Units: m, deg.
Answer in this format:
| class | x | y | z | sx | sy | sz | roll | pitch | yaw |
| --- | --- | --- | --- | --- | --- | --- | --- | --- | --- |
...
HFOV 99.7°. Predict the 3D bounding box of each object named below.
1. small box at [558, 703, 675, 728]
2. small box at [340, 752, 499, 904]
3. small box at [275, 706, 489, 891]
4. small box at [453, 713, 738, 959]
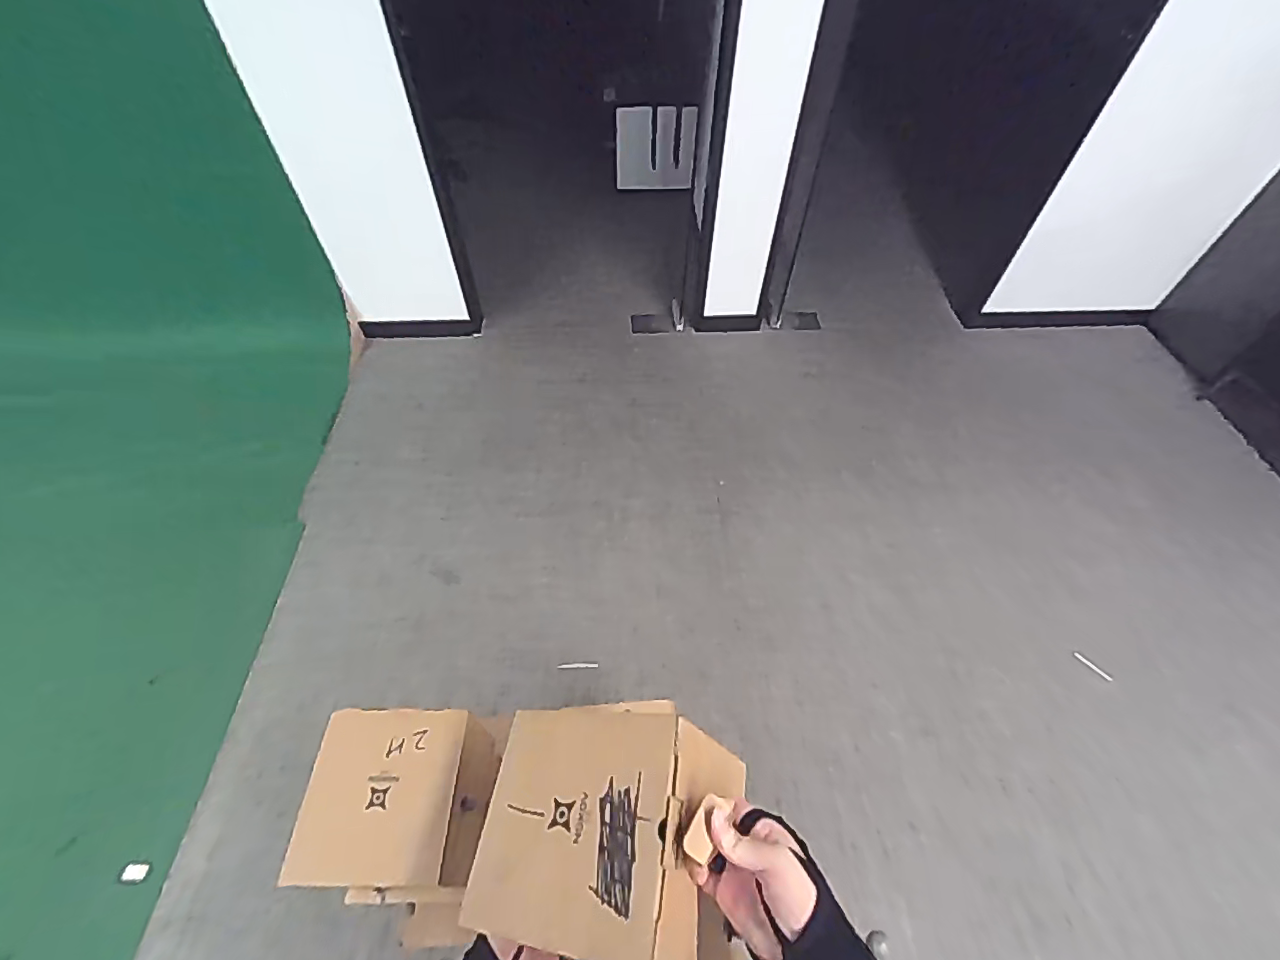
| class | x | y | z | sx | sy | sz | roll | pitch | yaw |
| --- | --- | --- | --- | --- | --- | --- | --- | --- | --- |
| small box | -0.034 | 0.454 | 0.831 | 0.179 | 0.176 | 0.168 | -3 | 51 | -1 |
| small box | -0.296 | 0.503 | 0.788 | 0.168 | 0.176 | 0.179 | 1 | 53 | -2 |
| small box | -0.293 | 0.393 | 0.665 | 0.168 | 0.176 | 0.179 | 2 | 53 | -1 |
| small box | -0.022 | 0.322 | 0.482 | 0.179 | 0.176 | 0.168 | -10 | 48 | 27 |
